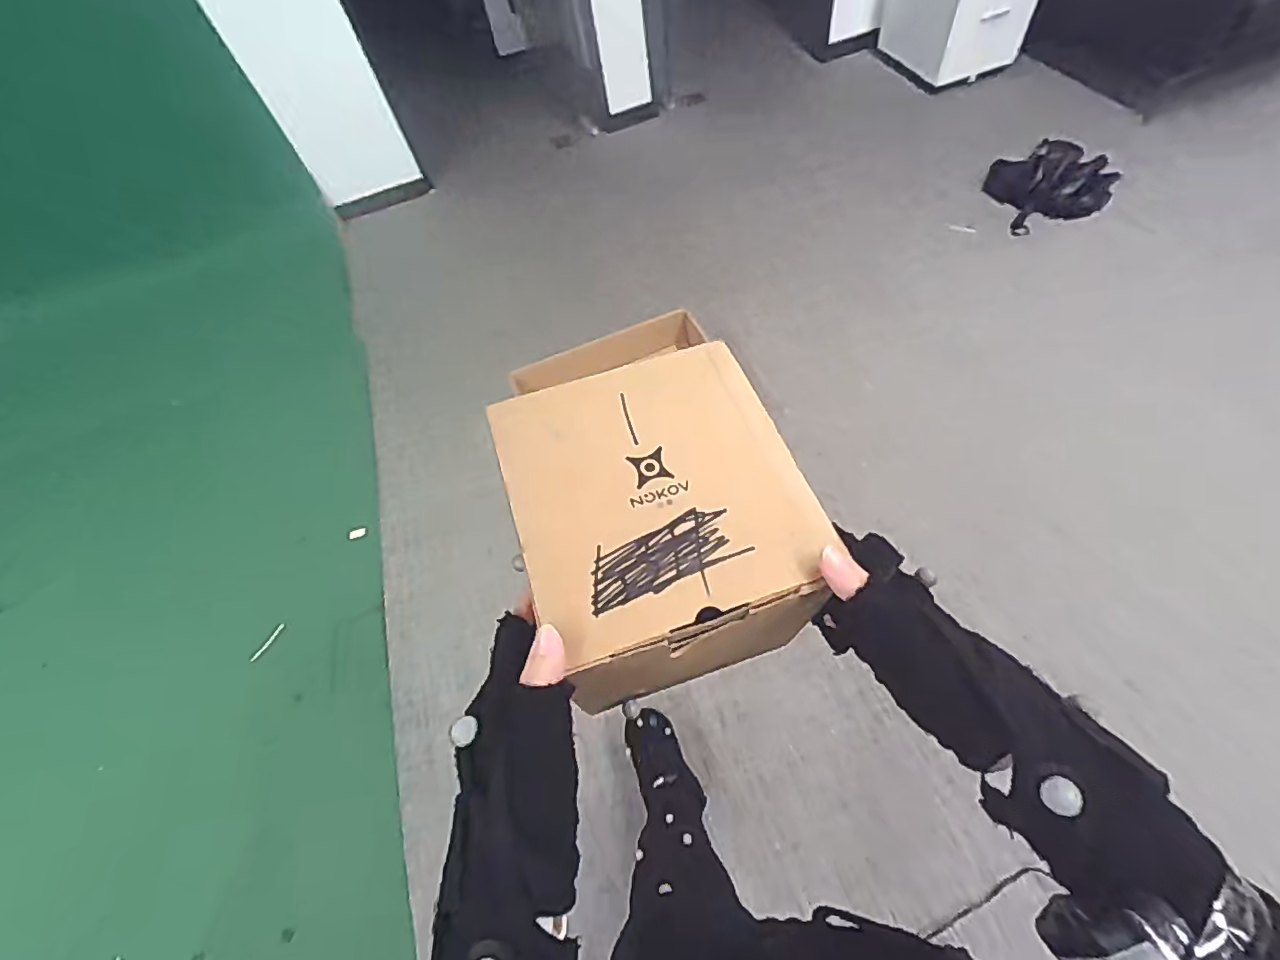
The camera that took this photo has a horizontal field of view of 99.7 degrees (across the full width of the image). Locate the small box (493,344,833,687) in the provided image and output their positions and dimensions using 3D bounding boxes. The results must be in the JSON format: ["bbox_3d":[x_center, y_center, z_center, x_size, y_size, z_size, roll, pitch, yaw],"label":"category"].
[{"bbox_3d":[0.009,0.038,0.396,0.168,0.176,0.179,-17,61,-7],"label":"small box"}]
